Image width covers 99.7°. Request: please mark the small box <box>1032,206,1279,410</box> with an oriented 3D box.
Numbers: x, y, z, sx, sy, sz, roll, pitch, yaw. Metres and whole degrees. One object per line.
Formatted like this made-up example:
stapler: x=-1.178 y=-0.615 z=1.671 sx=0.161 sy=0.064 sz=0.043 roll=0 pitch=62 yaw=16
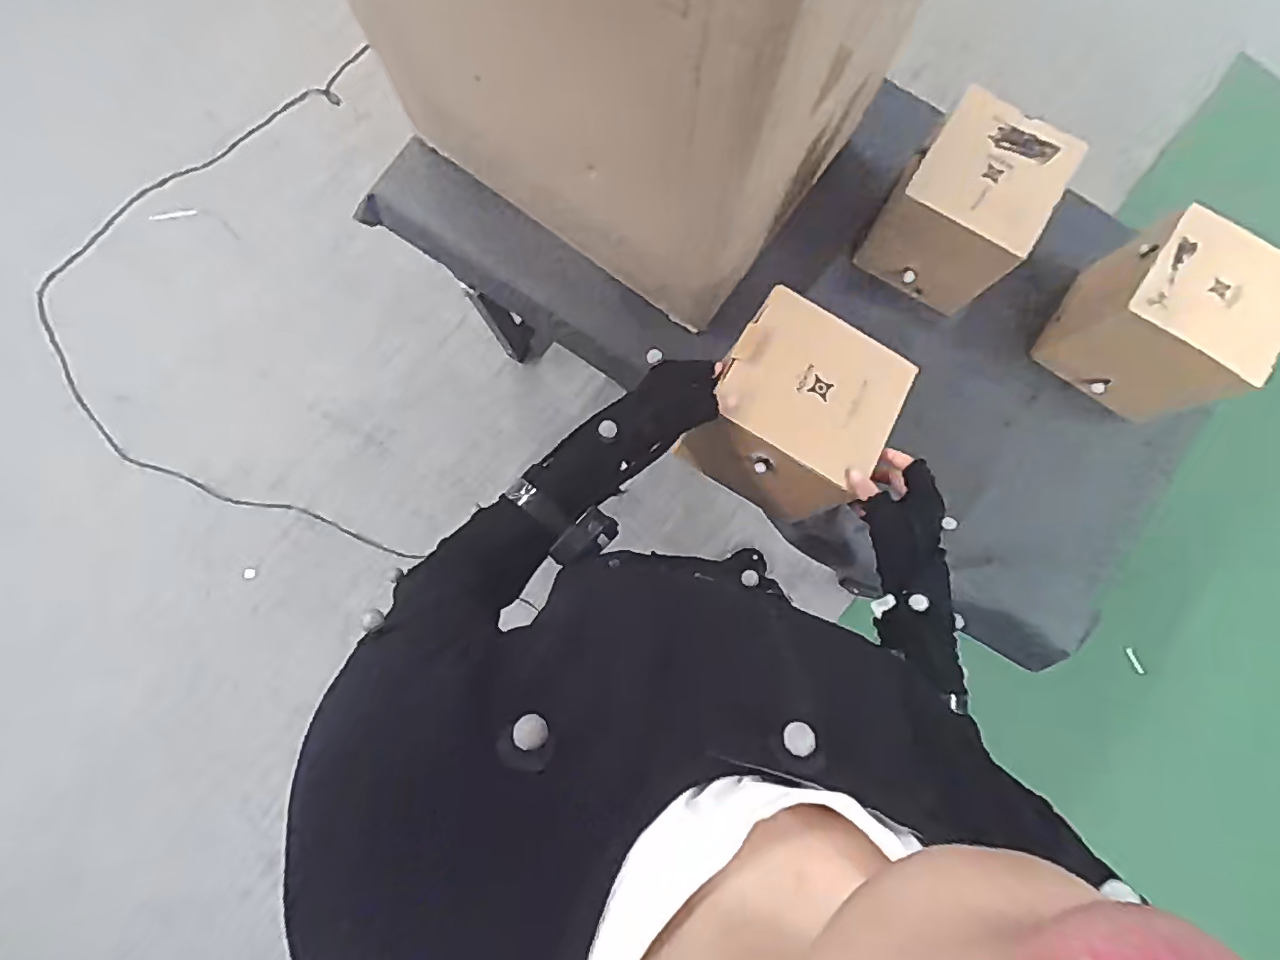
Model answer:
small box: x=0.690 y=-0.211 z=0.721 sx=0.179 sy=0.176 sz=0.168 roll=35 pitch=84 yaw=4
